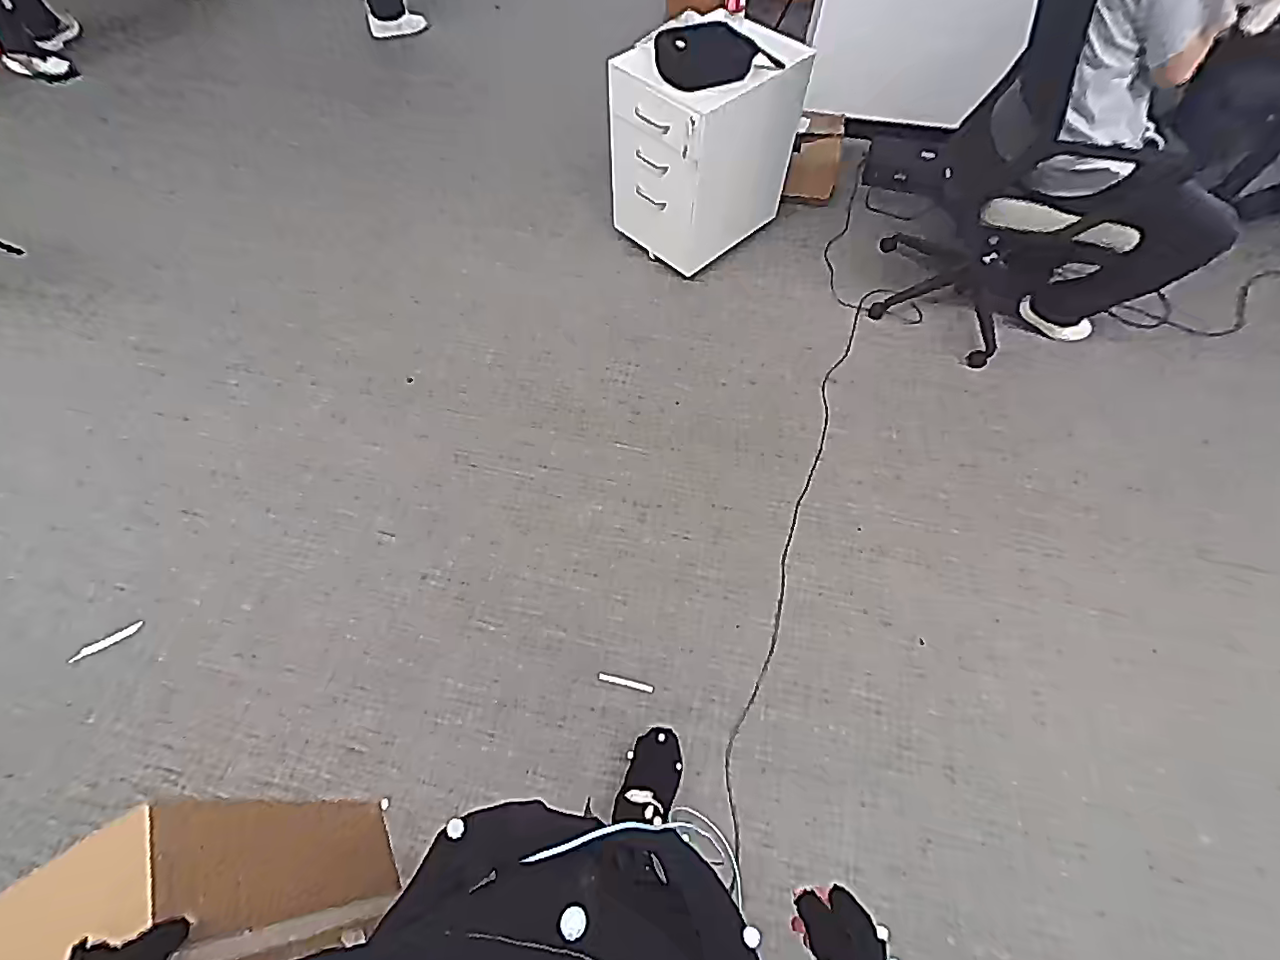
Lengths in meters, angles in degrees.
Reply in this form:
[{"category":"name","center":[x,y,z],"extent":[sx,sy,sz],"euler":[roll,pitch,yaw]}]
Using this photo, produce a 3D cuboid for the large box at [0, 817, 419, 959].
[{"category":"large box","center":[-0.526,0.653,0.645],"extent":[0.320,0.408,0.320],"euler":[-32,58,-7]}]
